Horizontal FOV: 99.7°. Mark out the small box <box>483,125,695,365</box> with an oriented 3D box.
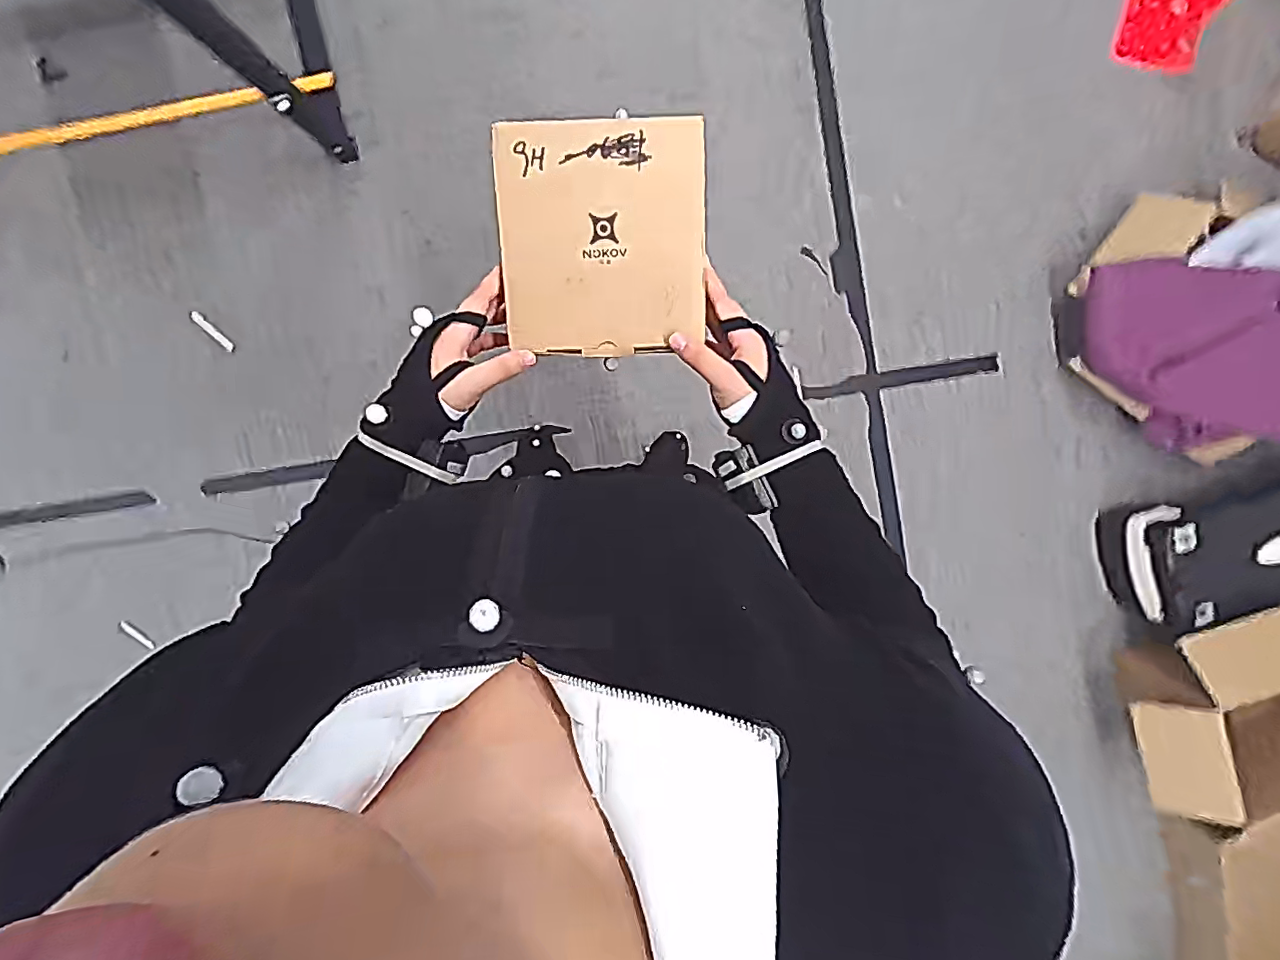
[{"bbox_3d":[-0.036,-0.205,0.512,0.168,0.176,0.179,-3,104,0],"label":"small box"}]
